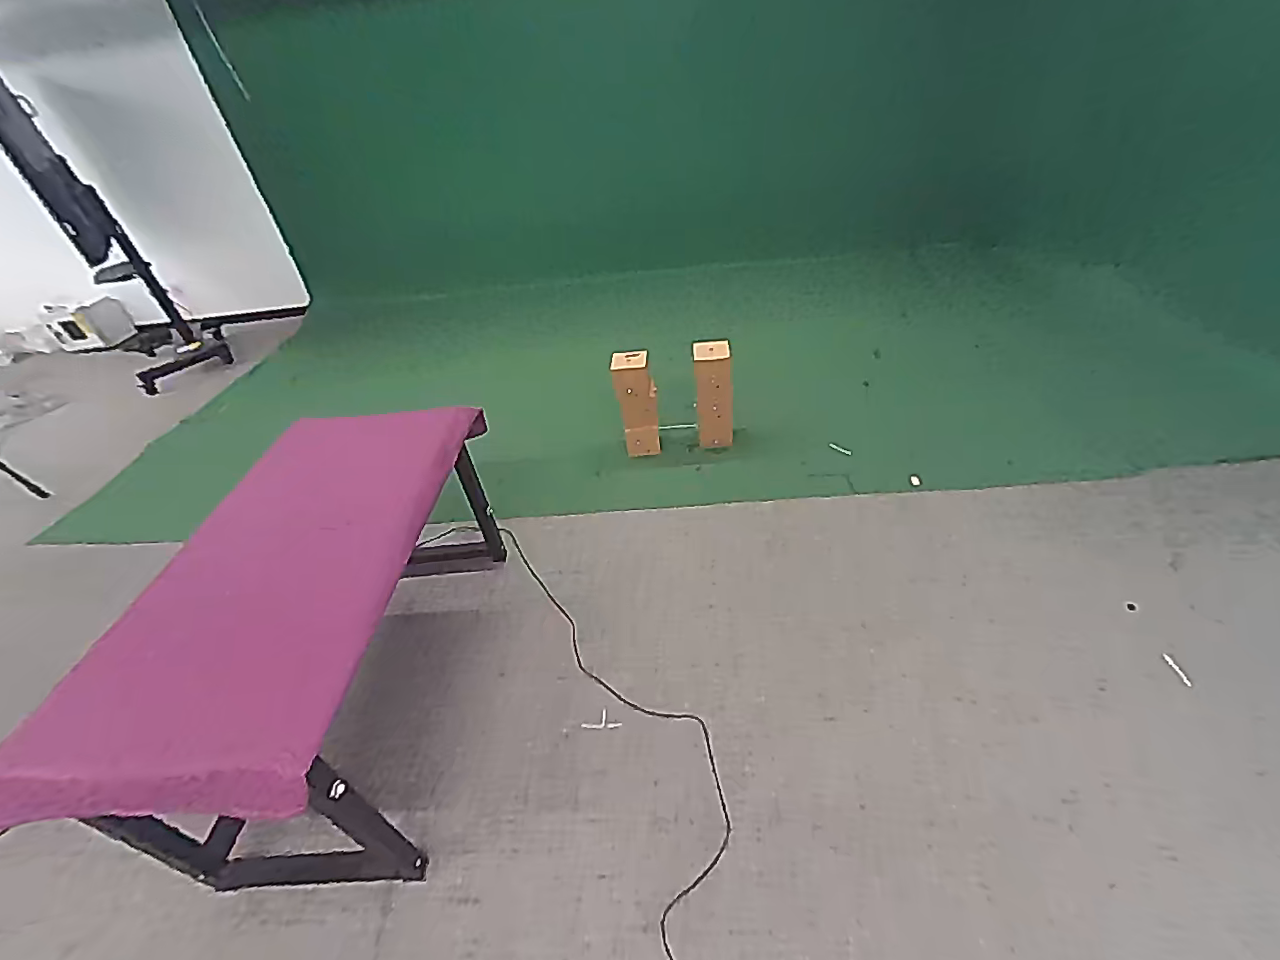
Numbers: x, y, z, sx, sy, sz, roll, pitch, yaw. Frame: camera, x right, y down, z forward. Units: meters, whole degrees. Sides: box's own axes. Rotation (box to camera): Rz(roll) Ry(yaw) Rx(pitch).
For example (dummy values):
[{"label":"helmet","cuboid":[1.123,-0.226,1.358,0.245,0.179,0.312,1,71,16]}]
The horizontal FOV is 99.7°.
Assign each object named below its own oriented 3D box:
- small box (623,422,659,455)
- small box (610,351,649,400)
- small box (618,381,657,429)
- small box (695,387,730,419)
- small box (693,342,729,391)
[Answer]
[{"label":"small box","cuboid":[0.008,-0.237,2.777,0.168,0.176,0.179,-6,38,3]},{"label":"small box","cuboid":[-0.046,-0.500,2.591,0.168,0.176,0.179,-4,38,6]},{"label":"small box","cuboid":[-0.010,-0.373,2.689,0.179,0.176,0.168,-6,37,3]},{"label":"small box","cuboid":[0.357,-0.411,2.665,0.168,0.176,0.179,-3,40,5]},{"label":"small box","cuboid":[0.335,-0.538,2.563,0.168,0.176,0.179,-3,40,7]}]
